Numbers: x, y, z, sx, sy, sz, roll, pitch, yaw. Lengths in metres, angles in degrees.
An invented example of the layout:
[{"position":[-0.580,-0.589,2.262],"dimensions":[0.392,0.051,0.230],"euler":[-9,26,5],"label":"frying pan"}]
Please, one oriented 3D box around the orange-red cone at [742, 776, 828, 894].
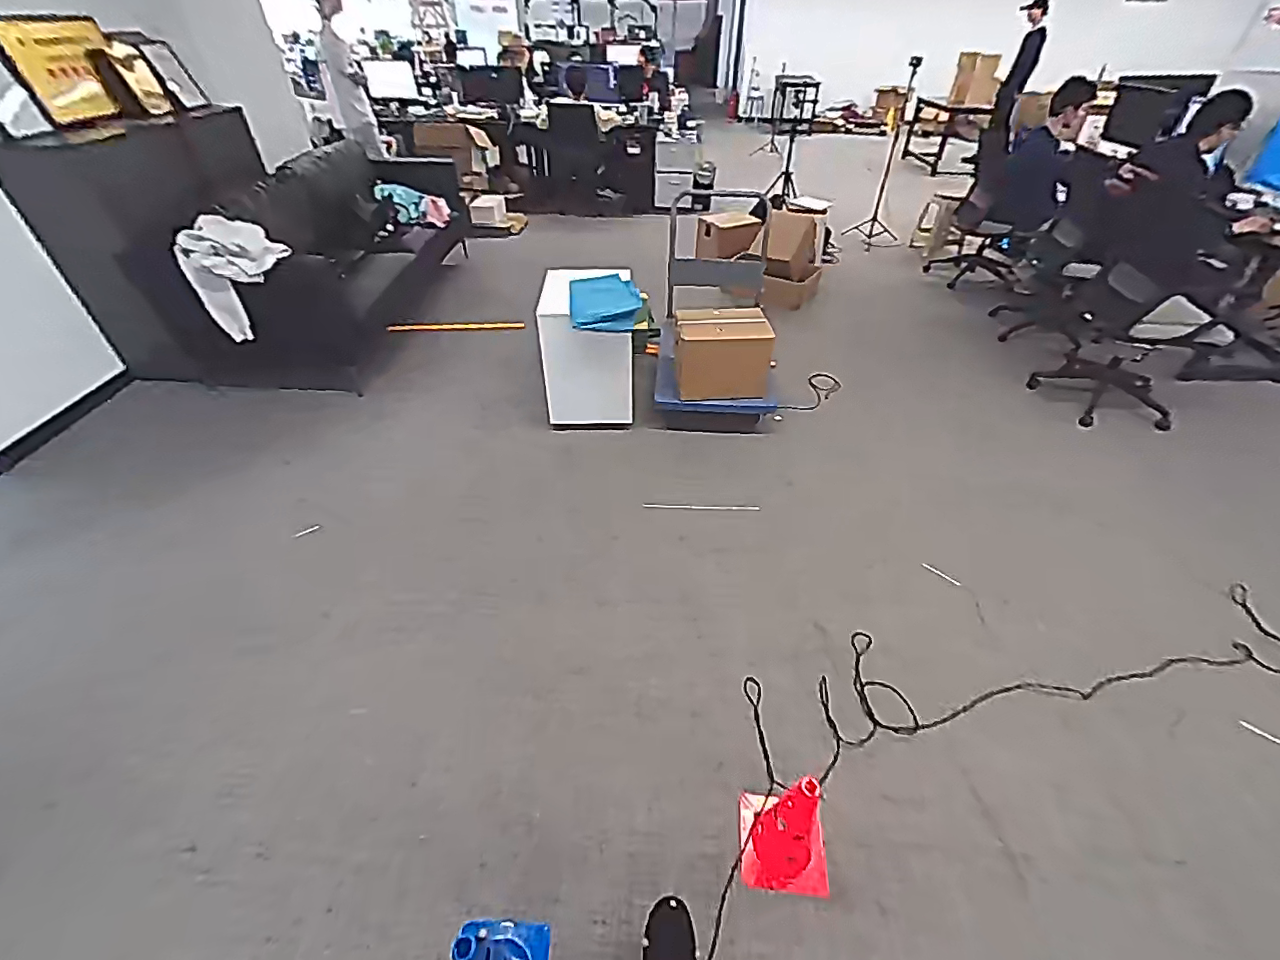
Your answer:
[{"position":[0.346,0.750,1.203],"dimensions":[0.198,0.360,0.199],"euler":[4,42,6],"label":"orange-red cone"}]
